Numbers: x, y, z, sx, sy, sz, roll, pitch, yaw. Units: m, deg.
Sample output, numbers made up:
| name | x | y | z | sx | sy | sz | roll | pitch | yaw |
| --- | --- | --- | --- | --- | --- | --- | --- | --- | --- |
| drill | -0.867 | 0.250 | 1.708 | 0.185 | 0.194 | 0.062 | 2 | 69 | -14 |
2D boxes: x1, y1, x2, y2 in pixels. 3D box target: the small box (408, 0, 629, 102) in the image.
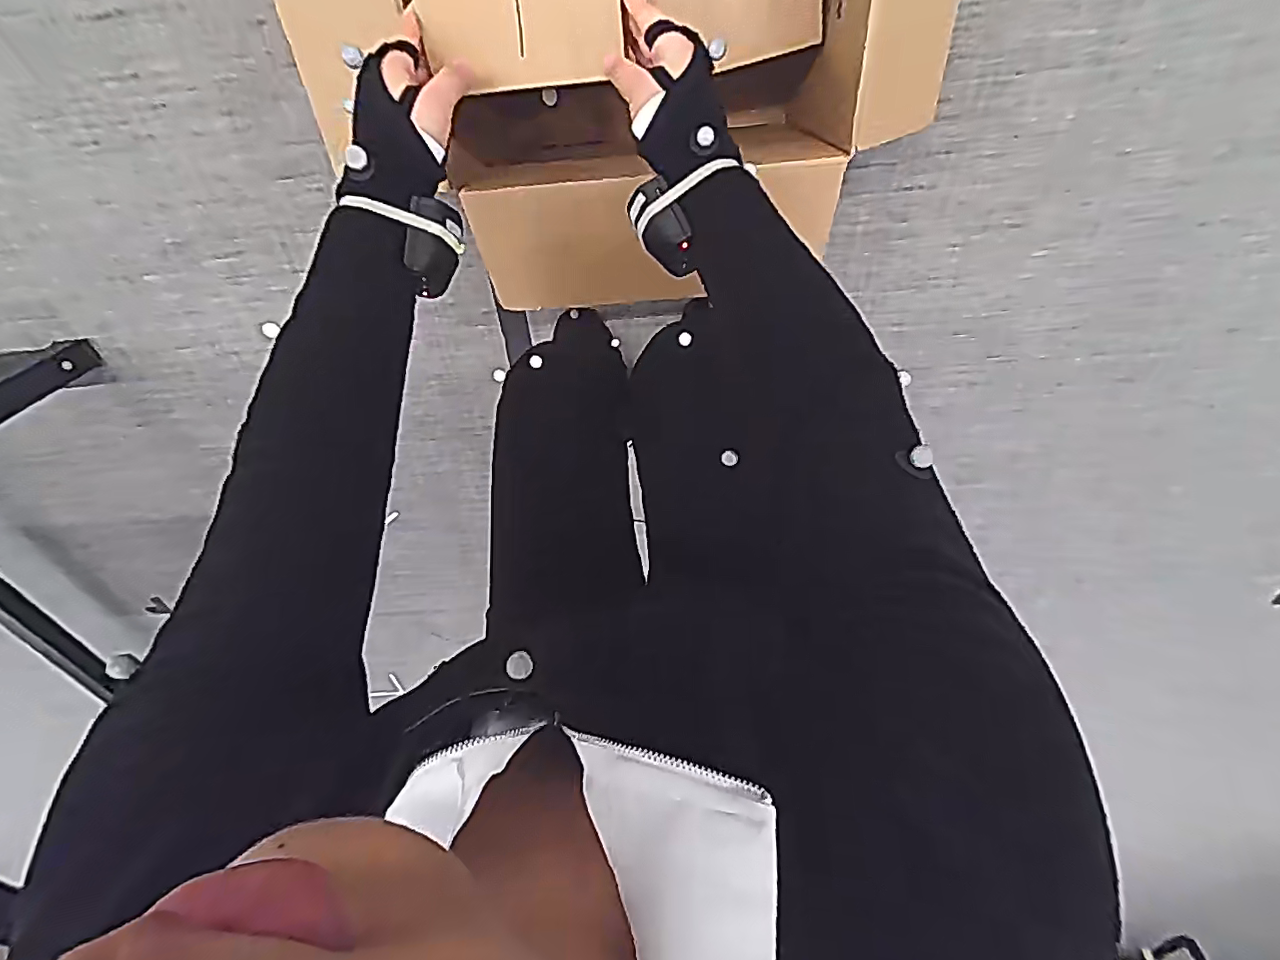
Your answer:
| name | x | y | z | sx | sy | sz | roll | pitch | yaw |
| --- | --- | --- | --- | --- | --- | --- | --- | --- | --- |
| small box | -0.101 | -0.448 | 0.475 | 0.168 | 0.176 | 0.179 | -1 | 129 | 5 |
